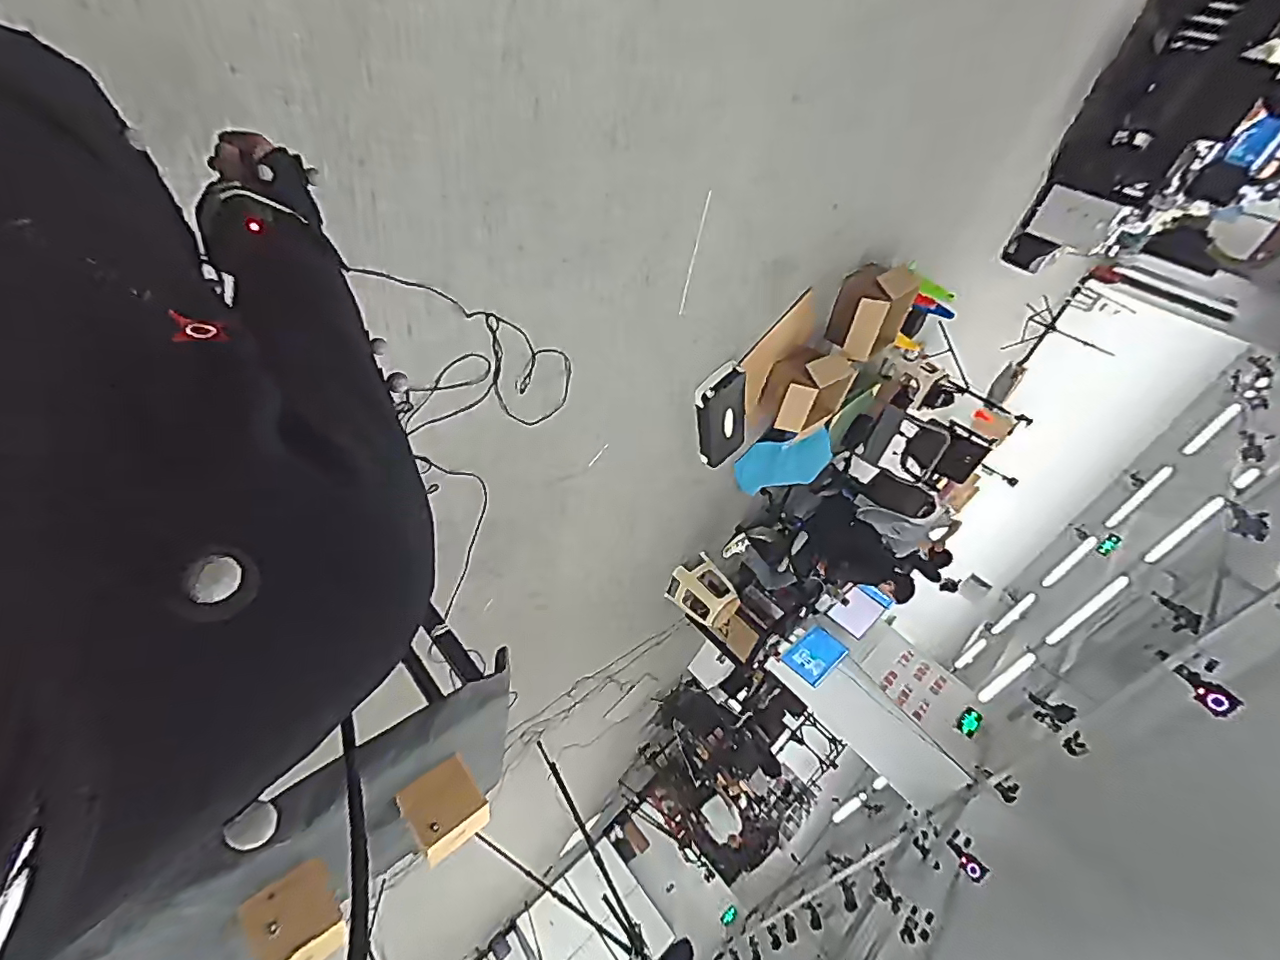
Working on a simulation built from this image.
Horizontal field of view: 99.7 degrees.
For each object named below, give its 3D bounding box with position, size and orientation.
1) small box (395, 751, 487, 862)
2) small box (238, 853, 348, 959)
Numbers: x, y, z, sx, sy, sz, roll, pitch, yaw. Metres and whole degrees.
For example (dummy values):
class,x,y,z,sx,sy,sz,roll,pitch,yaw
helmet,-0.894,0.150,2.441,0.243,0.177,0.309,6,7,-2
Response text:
class,x,y,z,sx,sy,sz,roll,pitch,yaw
small box,-0.537,0.878,1.467,0.179,0.176,0.168,-25,145,-36
small box,-0.804,1.019,1.258,0.168,0.176,0.179,-21,142,-40
